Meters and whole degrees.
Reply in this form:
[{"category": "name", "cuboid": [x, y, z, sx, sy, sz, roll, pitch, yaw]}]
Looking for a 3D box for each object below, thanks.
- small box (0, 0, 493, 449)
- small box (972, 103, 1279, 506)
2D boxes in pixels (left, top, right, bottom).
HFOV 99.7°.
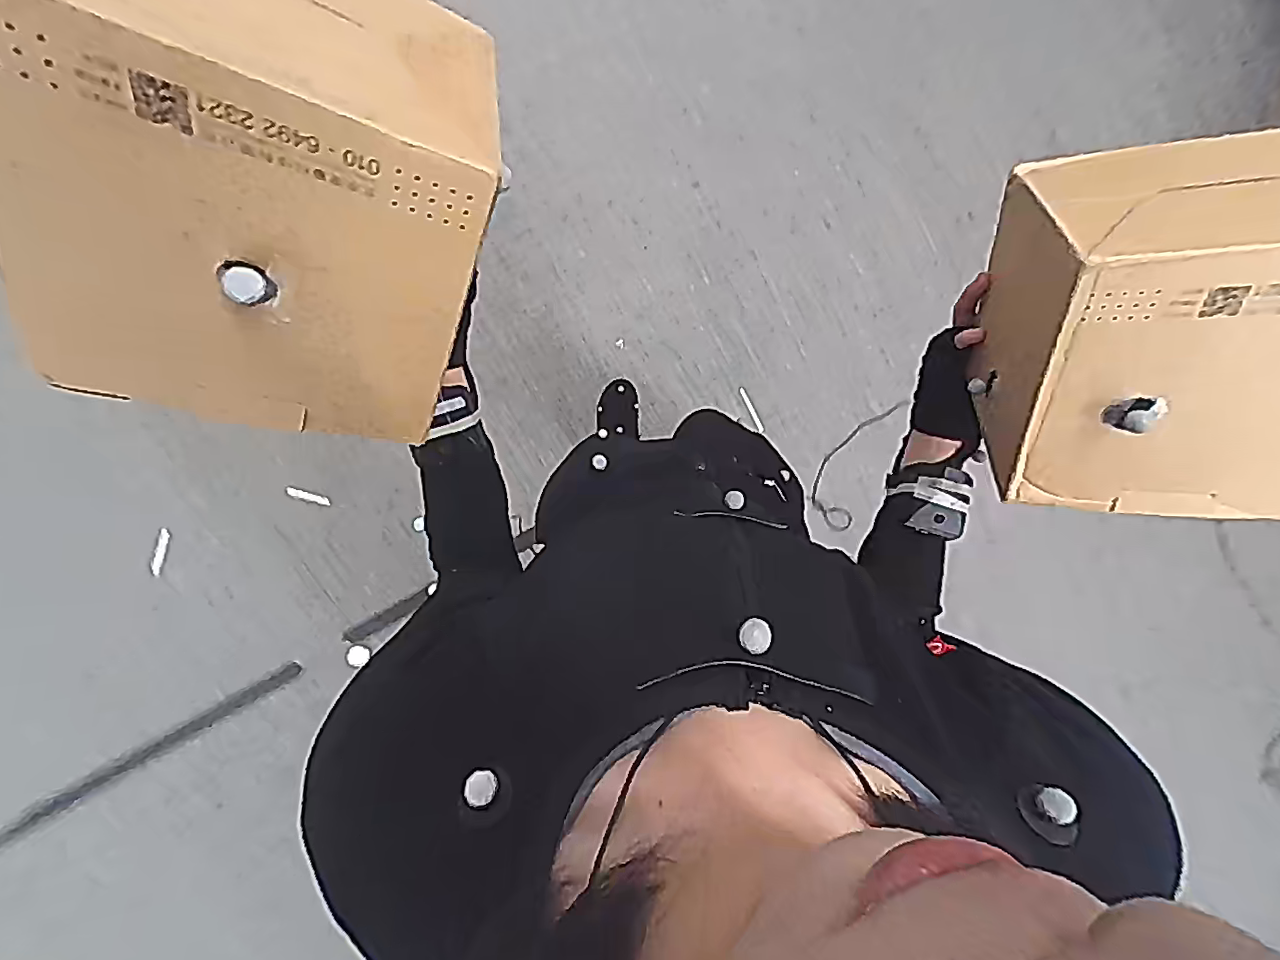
[{"category": "small box", "cuboid": [-0.175, -0.143, 0.260, 0.168, 0.179, 0.176, 9, 137, -28]}, {"category": "small box", "cuboid": [0.321, -0.104, 0.325, 0.168, 0.179, 0.176, 3, 134, 19]}]
